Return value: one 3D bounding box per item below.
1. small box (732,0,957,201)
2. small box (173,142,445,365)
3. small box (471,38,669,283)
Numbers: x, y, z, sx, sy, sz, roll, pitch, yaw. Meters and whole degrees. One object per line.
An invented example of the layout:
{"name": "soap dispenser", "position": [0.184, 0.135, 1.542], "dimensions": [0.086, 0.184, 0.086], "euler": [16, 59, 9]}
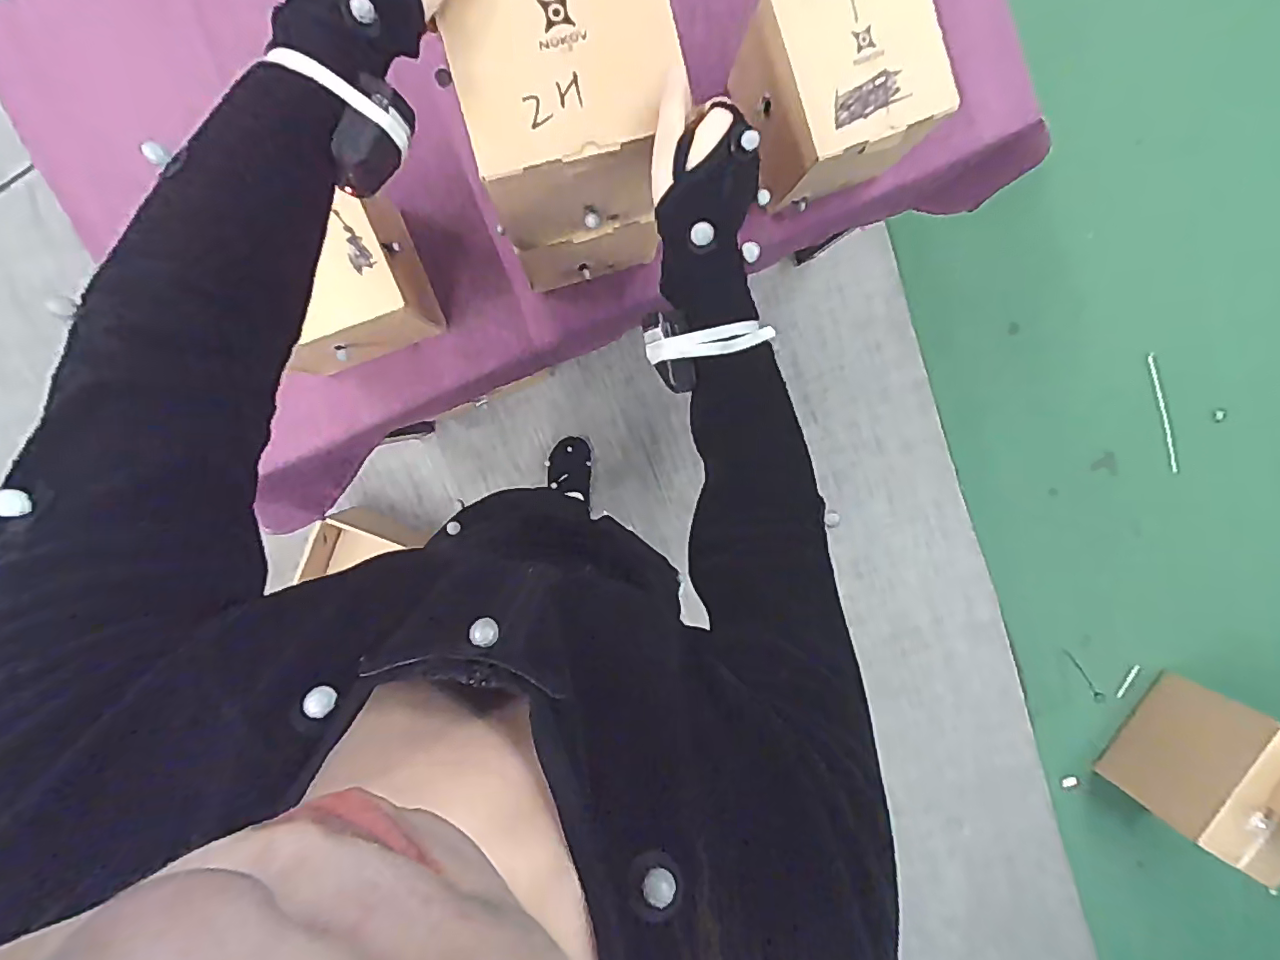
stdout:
{"name": "small box", "position": [0.226, -0.456, 0.635], "dimensions": [0.168, 0.176, 0.179], "euler": [-21, 99, -2]}
{"name": "small box", "position": [-0.353, -0.237, 0.616], "dimensions": [0.179, 0.176, 0.168], "euler": [-21, 100, -1]}
{"name": "small box", "position": [-0.077, -0.350, 0.627], "dimensions": [0.168, 0.176, 0.179], "euler": [-16, 100, -3]}
